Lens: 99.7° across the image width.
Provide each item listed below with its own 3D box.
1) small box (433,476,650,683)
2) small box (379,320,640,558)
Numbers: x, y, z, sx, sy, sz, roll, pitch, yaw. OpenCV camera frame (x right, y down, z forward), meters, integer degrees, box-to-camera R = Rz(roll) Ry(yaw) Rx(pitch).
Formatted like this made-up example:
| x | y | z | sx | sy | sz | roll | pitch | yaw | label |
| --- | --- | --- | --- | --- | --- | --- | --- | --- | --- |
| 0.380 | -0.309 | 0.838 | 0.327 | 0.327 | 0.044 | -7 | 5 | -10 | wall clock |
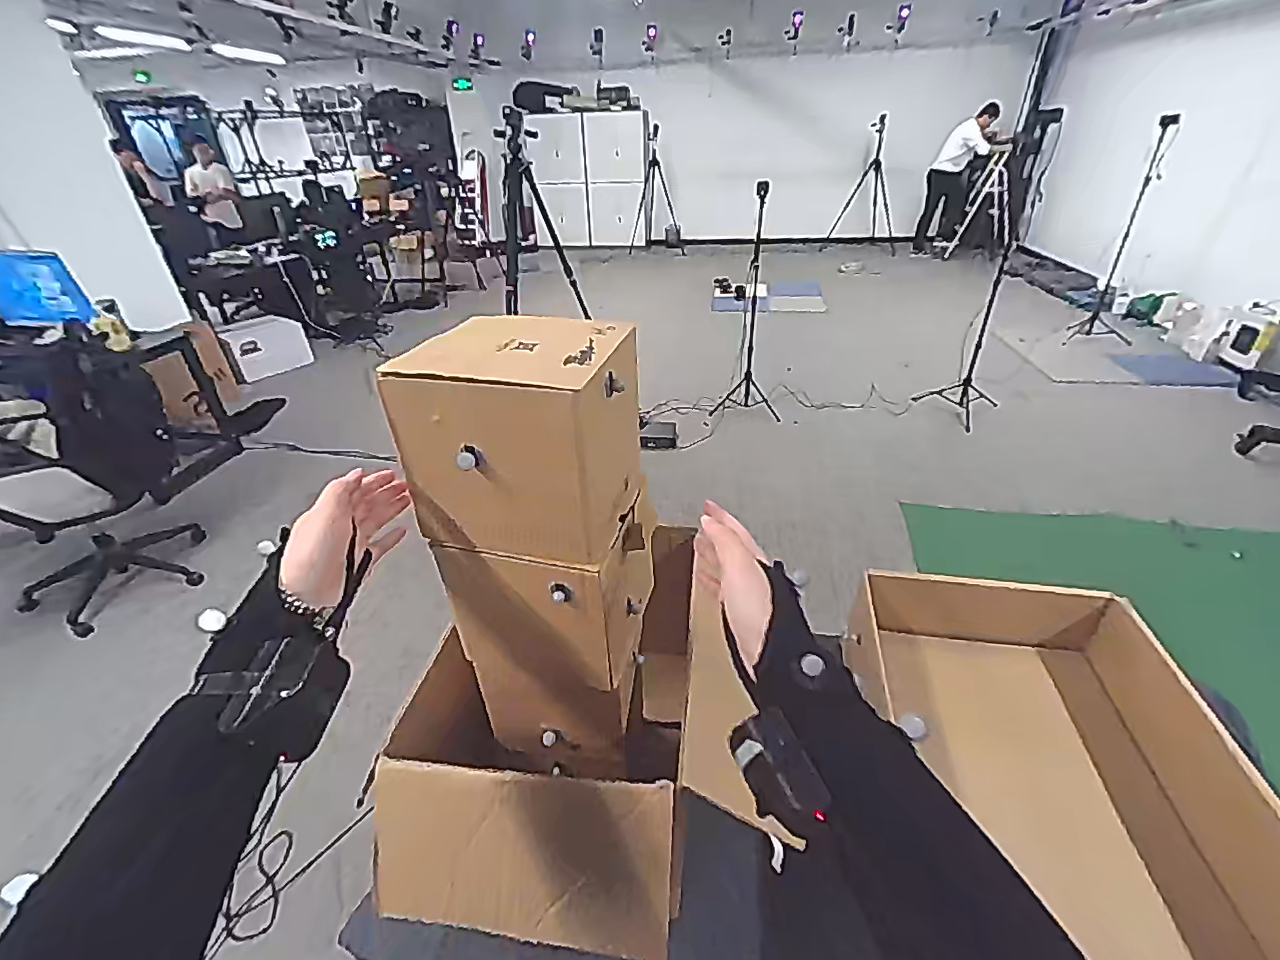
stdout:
| x | y | z | sx | sy | sz | roll | pitch | yaw | label |
| --- | --- | --- | --- | --- | --- | --- | --- | --- | --- |
| -0.092 | 0.097 | 0.599 | 0.179 | 0.176 | 0.168 | 7 | 34 | 13 | small box |
| -0.103 | -0.044 | 0.516 | 0.179 | 0.176 | 0.168 | 6 | 34 | 12 | small box |
